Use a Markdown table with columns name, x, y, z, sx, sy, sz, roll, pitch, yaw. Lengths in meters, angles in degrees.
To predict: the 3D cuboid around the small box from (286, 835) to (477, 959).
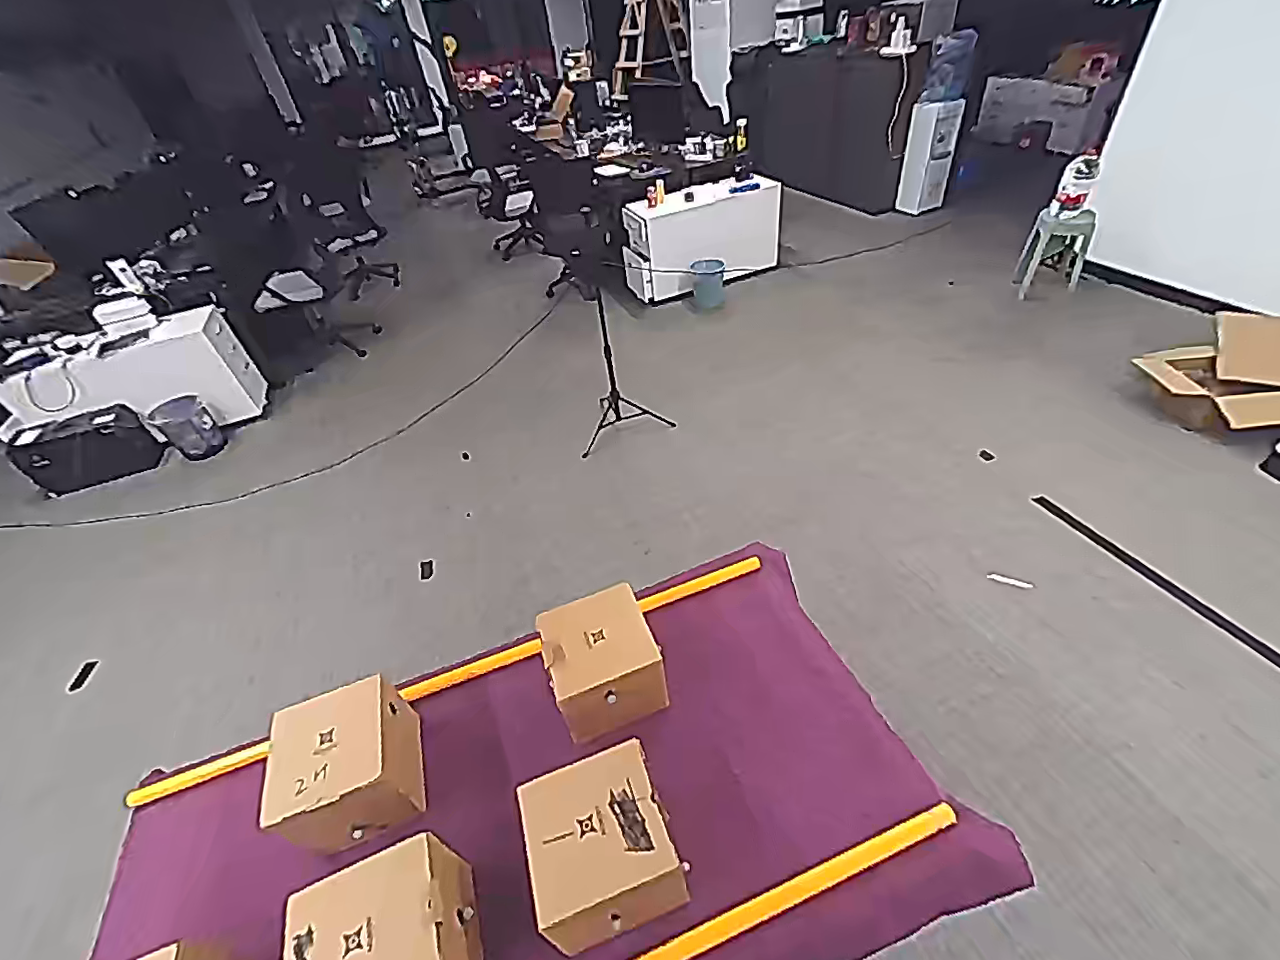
| name | x | y | z | sx | sy | sz | roll | pitch | yaw |
| --- | --- | --- | --- | --- | --- | --- | --- | --- | --- |
| small box | -0.314 | 0.593 | 0.681 | 0.179 | 0.176 | 0.168 | -19 | 42 | -13 |

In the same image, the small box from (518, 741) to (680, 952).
| name | x | y | z | sx | sy | sz | roll | pitch | yaw |
| --- | --- | --- | --- | --- | --- | --- | --- | --- | --- |
| small box | -0.051 | 0.499 | 0.739 | 0.179 | 0.176 | 0.168 | -18 | 41 | -9 |

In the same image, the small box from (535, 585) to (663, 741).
| name | x | y | z | sx | sy | sz | roll | pitch | yaw |
| --- | --- | --- | --- | --- | --- | --- | --- | --- | --- |
| small box | -0.066 | 0.320 | 0.945 | 0.179 | 0.176 | 0.168 | -19 | 43 | -10 |

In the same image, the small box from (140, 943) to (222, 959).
| name | x | y | z | sx | sy | sz | roll | pitch | yaw |
| --- | --- | --- | --- | --- | --- | --- | --- | --- | --- |
| small box | -0.589 | 0.685 | 0.623 | 0.179 | 0.176 | 0.168 | -18 | 42 | -13 |

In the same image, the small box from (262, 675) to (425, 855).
| name | x | y | z | sx | sy | sz | roll | pitch | yaw |
| --- | --- | --- | --- | --- | --- | --- | --- | --- | --- |
| small box | -0.459 | 0.453 | 0.863 | 0.168 | 0.176 | 0.179 | -19 | 44 | -11 |
